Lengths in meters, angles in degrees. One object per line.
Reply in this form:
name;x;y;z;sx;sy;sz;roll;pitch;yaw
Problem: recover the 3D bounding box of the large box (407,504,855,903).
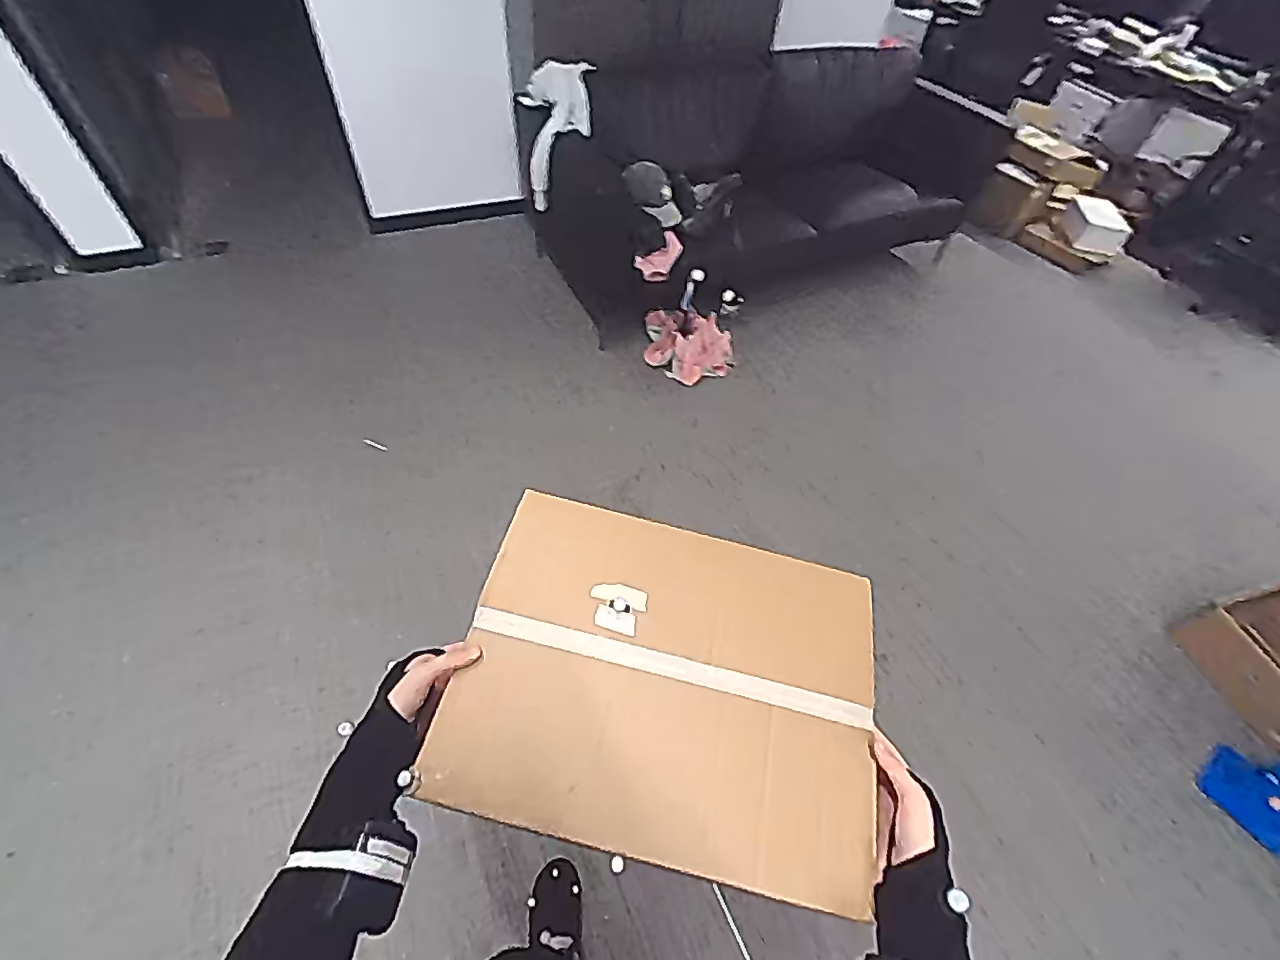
large box;0.006;0.273;0.668;0.408;0.320;0.320;13;56;2
